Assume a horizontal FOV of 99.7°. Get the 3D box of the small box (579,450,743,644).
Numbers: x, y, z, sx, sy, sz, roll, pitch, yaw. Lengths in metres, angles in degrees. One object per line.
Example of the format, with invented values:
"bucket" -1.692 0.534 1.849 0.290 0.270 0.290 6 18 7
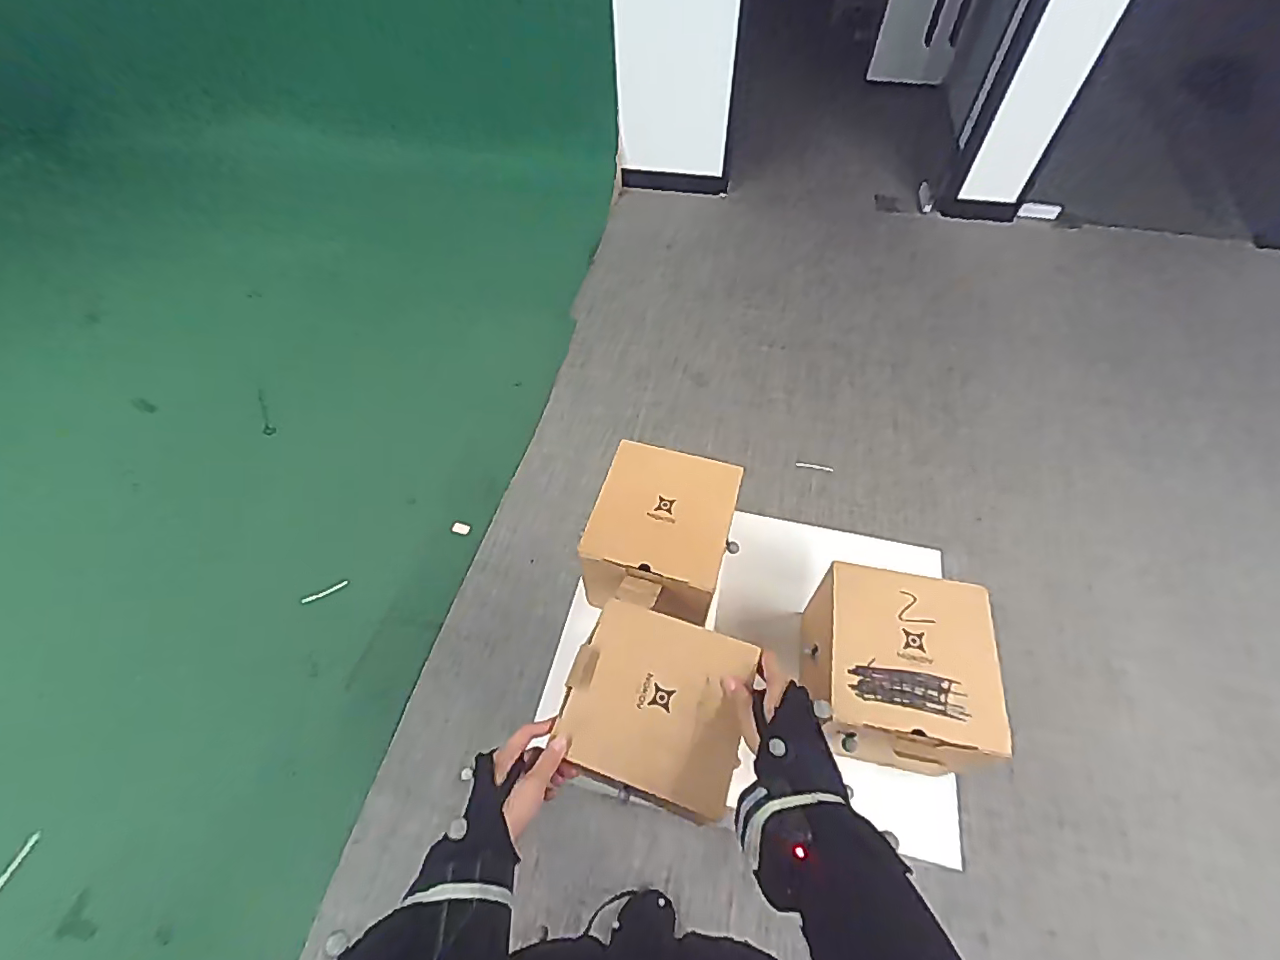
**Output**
"small box" 0.029 0.093 0.721 0.168 0.176 0.179 14 58 9
